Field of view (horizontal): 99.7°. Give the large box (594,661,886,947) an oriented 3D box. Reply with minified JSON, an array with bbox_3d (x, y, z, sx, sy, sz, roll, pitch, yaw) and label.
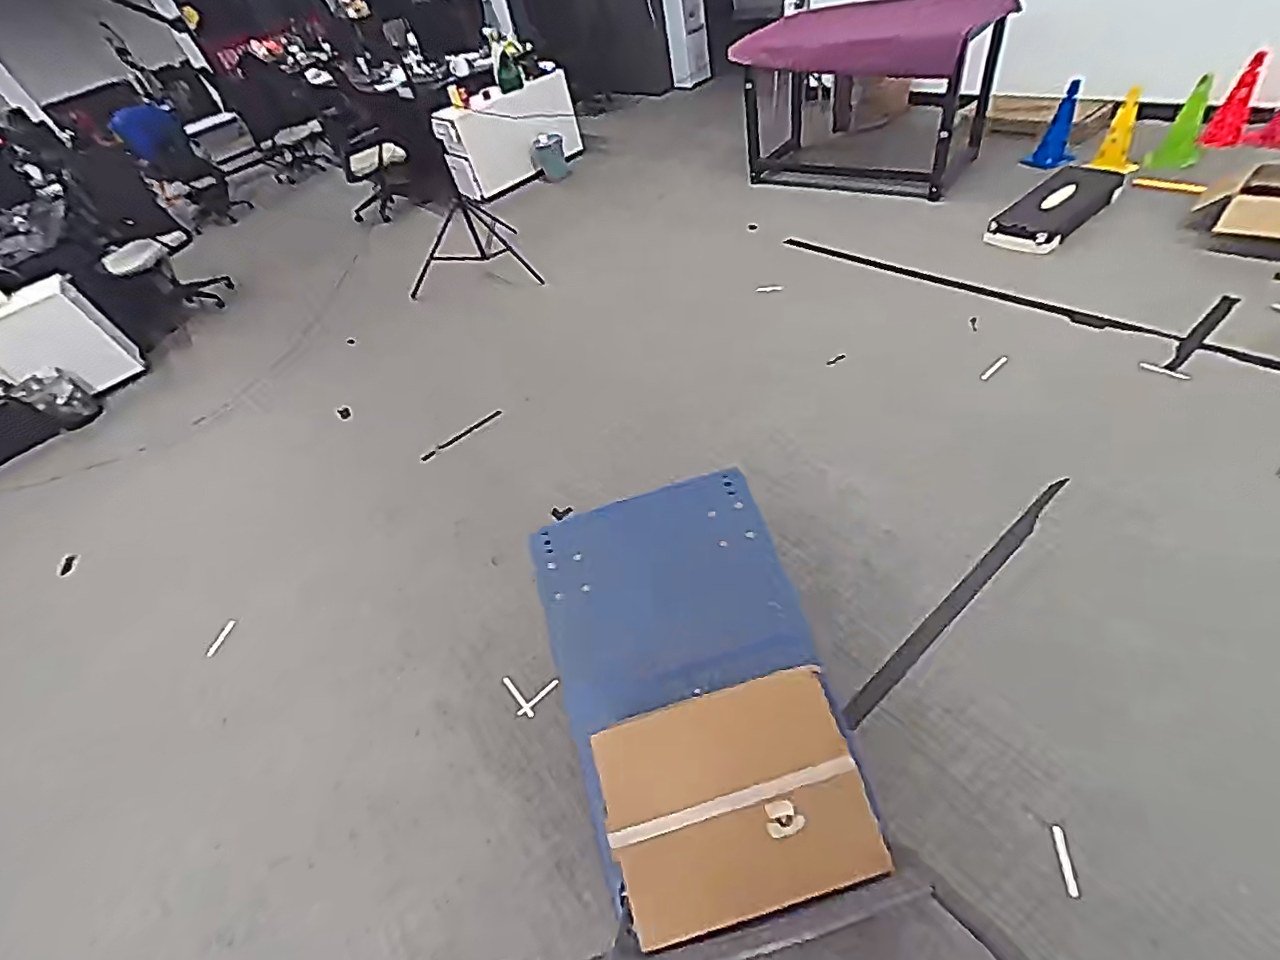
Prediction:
[{"bbox_3d":[0.162,0.571,1.025,0.408,0.320,0.320,-19,69,-3],"label":"large box"}]
